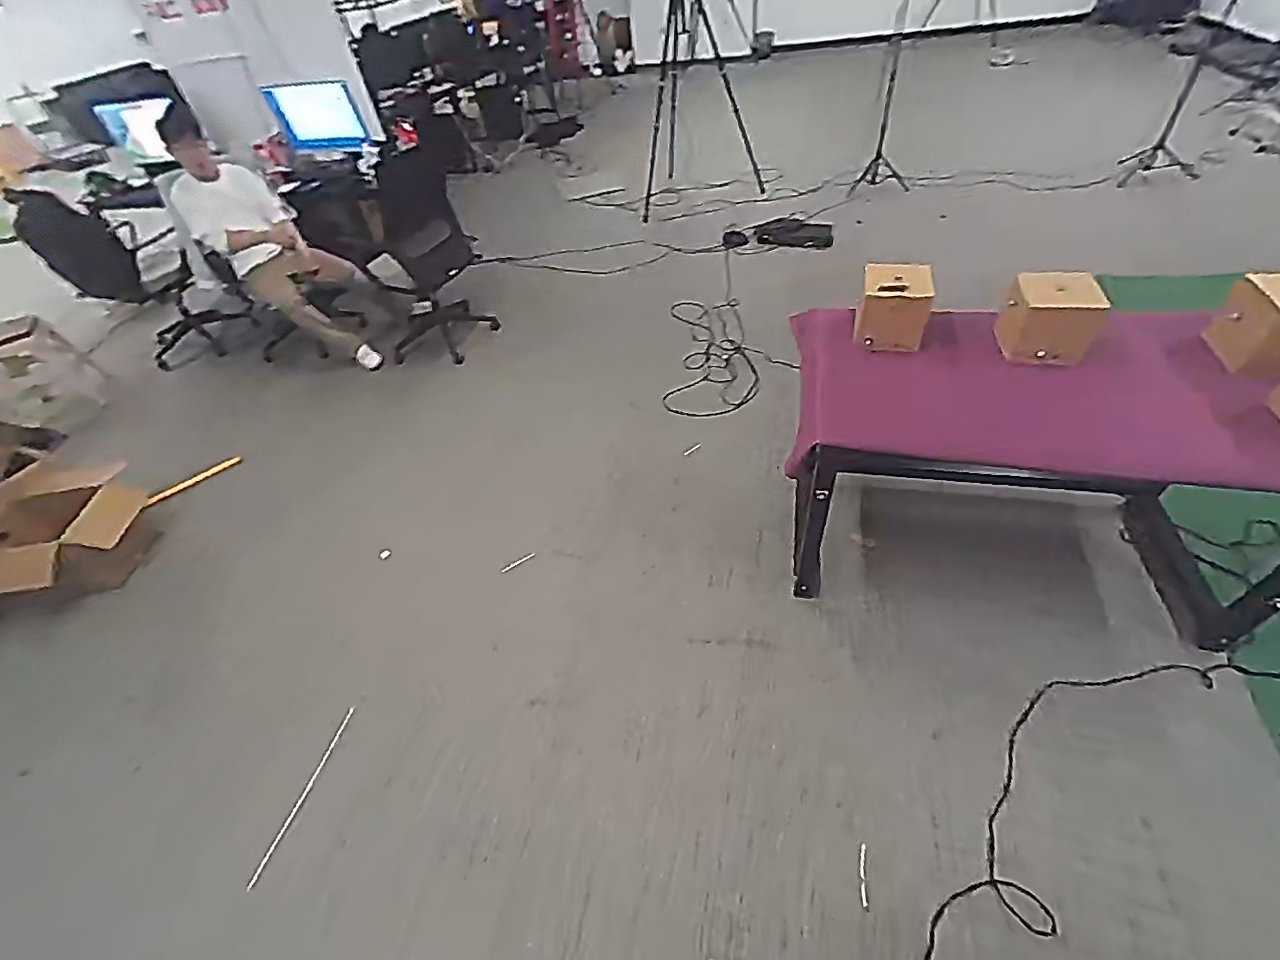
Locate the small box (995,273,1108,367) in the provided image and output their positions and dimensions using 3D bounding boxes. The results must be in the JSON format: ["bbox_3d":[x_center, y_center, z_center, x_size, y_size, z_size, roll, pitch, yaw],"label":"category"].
[{"bbox_3d":[1.042,-0.412,1.389,0.168,0.176,0.179,5,48,15],"label":"small box"}]

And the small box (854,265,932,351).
[{"bbox_3d":[0.696,-0.476,1.499,0.168,0.176,0.179,8,49,15],"label":"small box"}]

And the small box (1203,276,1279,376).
[{"bbox_3d":[1.494,-0.360,1.264,0.168,0.176,0.179,4,47,14],"label":"small box"}]
